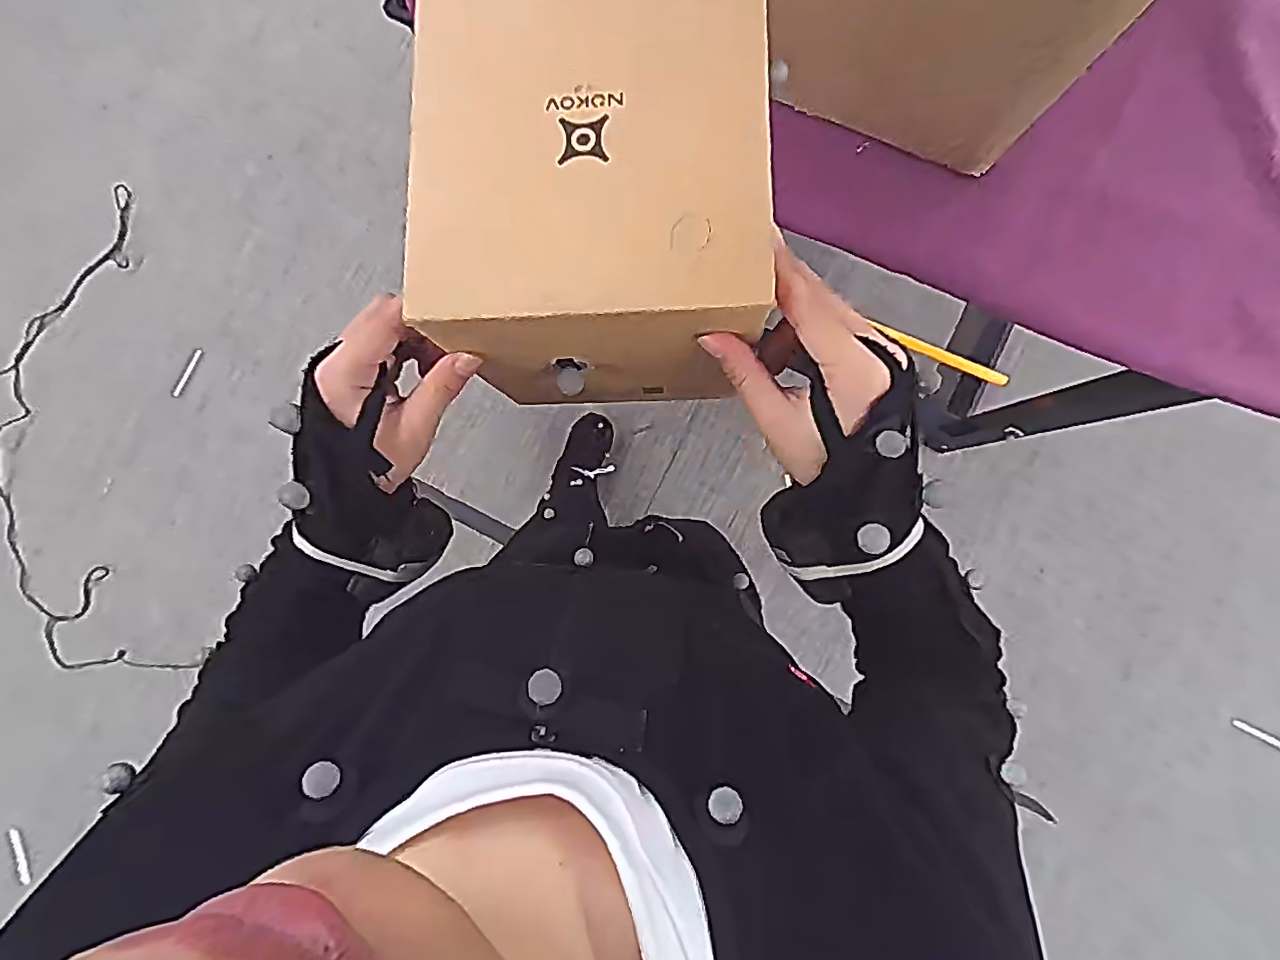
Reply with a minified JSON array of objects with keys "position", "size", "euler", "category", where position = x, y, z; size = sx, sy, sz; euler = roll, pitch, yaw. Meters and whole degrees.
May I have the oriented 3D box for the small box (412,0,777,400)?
[{"position":[-0.014,-0.149,0.322],"size":[0.168,0.176,0.179],"euler":[-1,83,5],"category":"small box"}]
